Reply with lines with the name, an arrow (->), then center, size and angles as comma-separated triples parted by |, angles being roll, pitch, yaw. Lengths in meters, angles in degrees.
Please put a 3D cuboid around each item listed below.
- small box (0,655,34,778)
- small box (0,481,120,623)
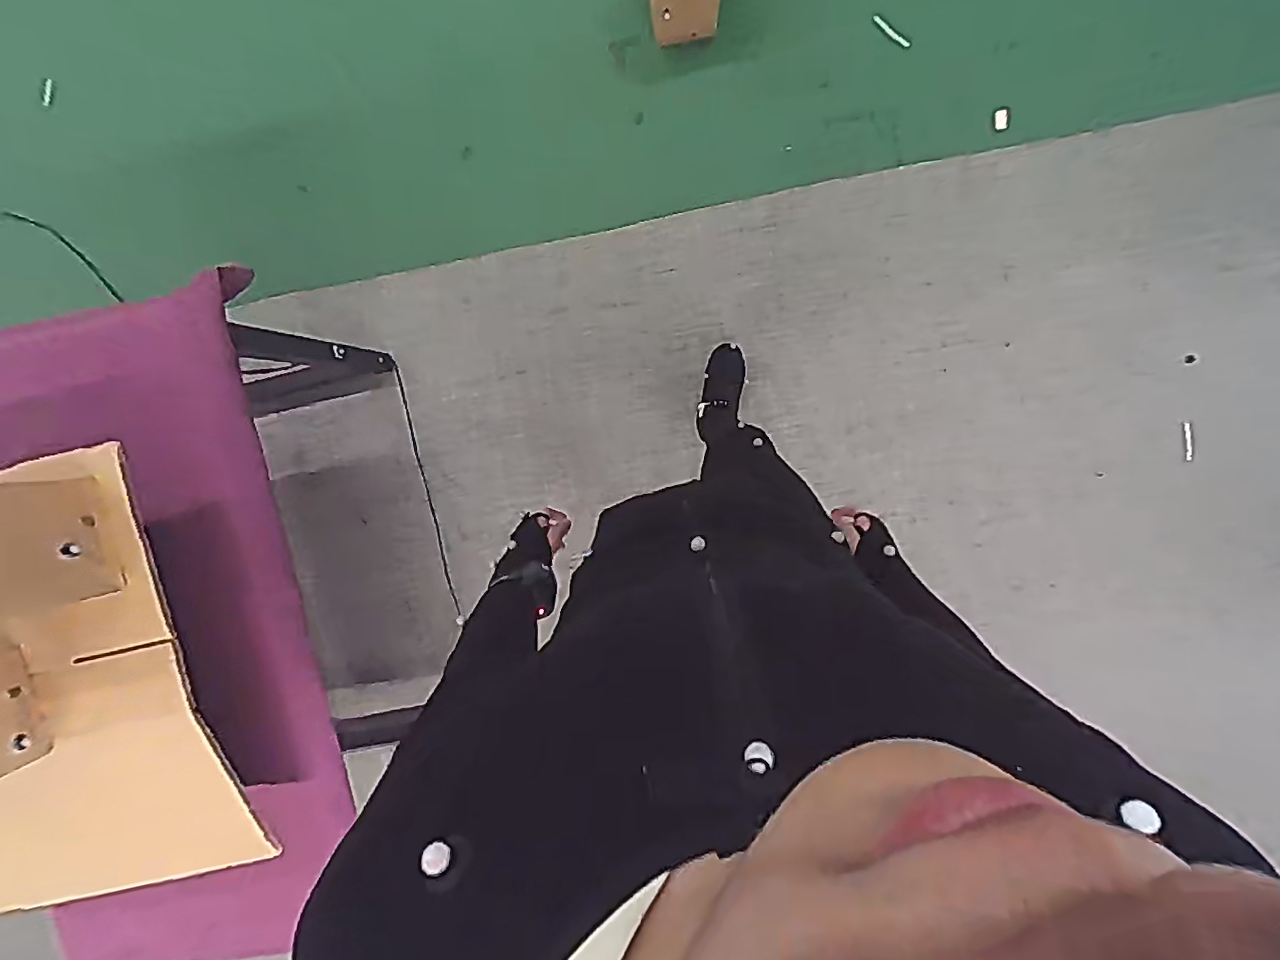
small box -> -0.968, 0.348, 0.710 | 0.179, 0.176, 0.168 | -13, 93, 5
small box -> -0.837, 0.102, 0.686 | 0.179, 0.176, 0.168 | -13, 93, 3
